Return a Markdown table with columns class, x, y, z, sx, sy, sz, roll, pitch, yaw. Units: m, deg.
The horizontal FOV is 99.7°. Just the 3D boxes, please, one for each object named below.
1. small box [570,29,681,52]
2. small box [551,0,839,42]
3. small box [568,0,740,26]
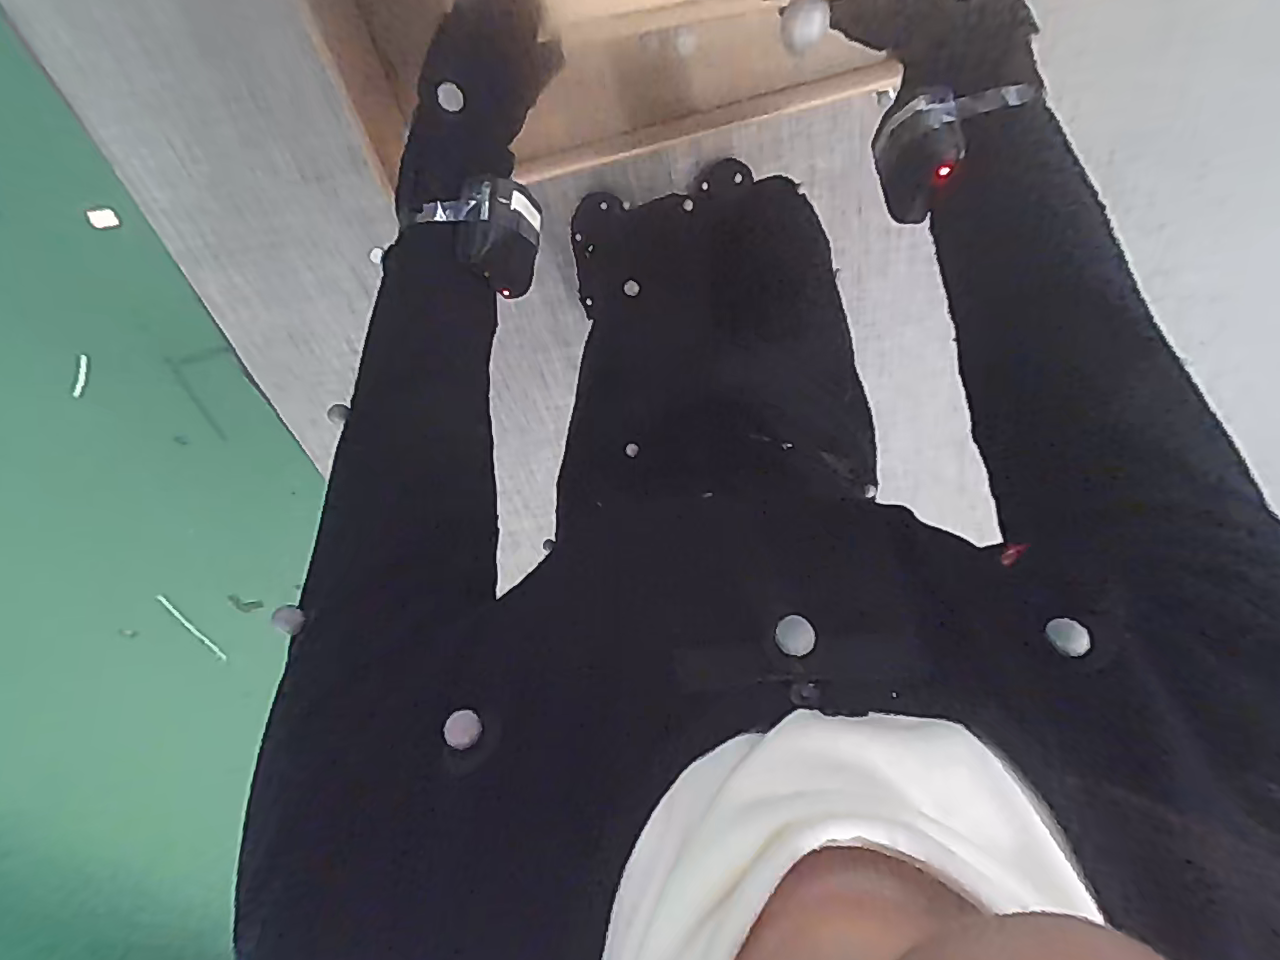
| class | x | y | z | sx | sy | sz | roll | pitch | yaw |
| --- | --- | --- | --- | --- | --- | --- | --- | --- | --- |
| small box | 0.008 | -0.436 | 0.389 | 0.168 | 0.176 | 0.179 | -11 | 131 | 4 |
| small box | 0.023 | -0.334 | 0.261 | 0.168 | 0.176 | 0.179 | -9 | 130 | 1 |
| small box | 0.038 | -0.237 | 0.129 | 0.168 | 0.176 | 0.179 | -9 | 129 | 2 |
